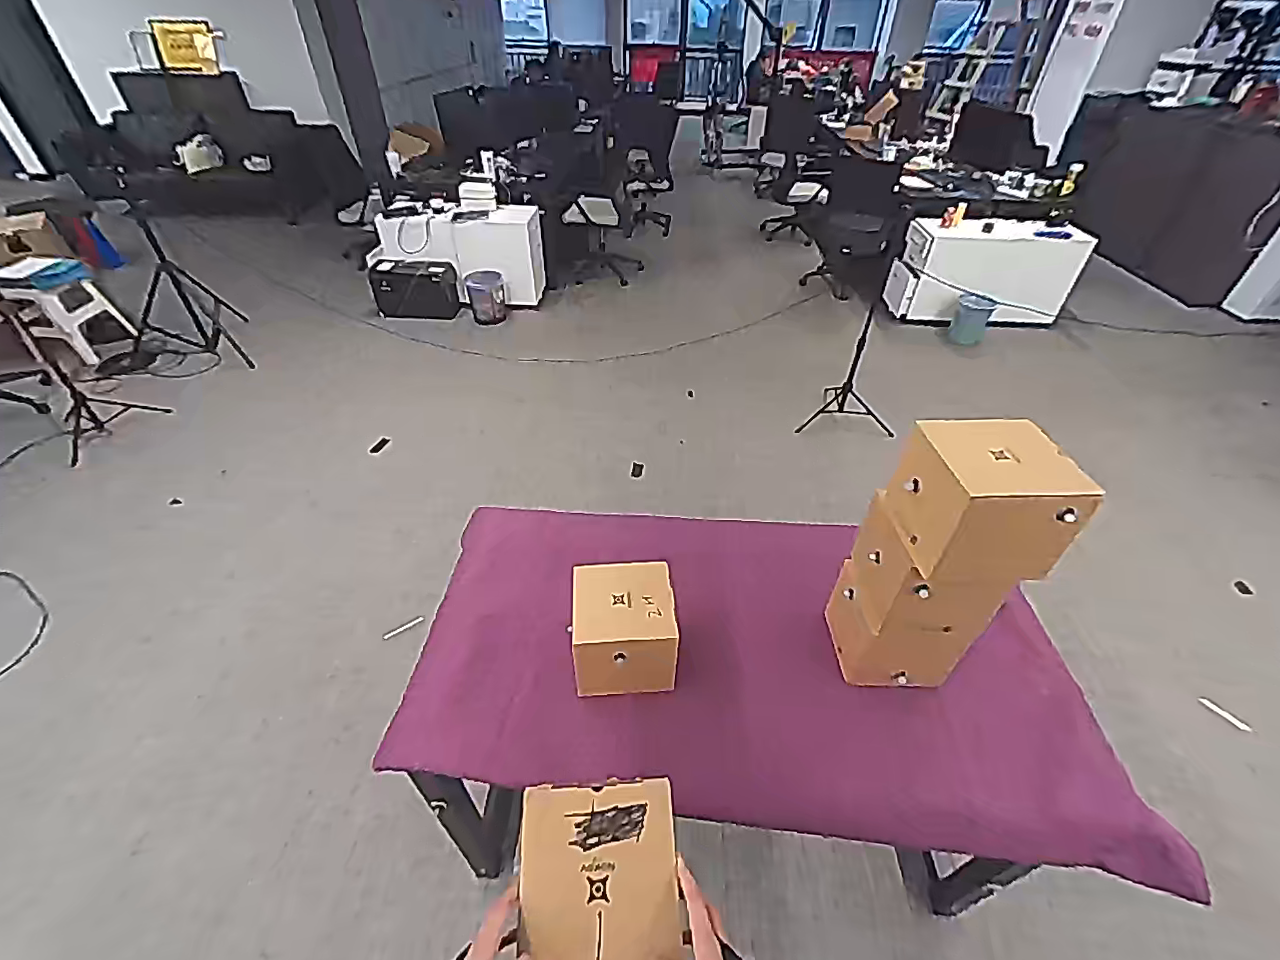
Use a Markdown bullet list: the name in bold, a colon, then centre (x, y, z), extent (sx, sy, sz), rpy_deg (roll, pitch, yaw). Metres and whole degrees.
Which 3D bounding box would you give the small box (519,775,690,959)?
- **small box**: centre (-0.040, 0.449, 0.618), extent (0.168, 0.176, 0.179), rpy_deg (-2, 57, -3)

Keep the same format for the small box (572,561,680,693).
- **small box**: centre (-0.026, 0.265, 0.971), extent (0.179, 0.176, 0.168), rpy_deg (-2, 40, -4)

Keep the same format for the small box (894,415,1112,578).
- **small box**: centre (0.483, 0.025, 0.761), extent (0.179, 0.176, 0.168), rpy_deg (-1, 41, -2)

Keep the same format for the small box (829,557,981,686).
- **small box**: centre (0.470, 0.260, 0.989), extent (0.179, 0.176, 0.168), rpy_deg (1, 40, 0)
